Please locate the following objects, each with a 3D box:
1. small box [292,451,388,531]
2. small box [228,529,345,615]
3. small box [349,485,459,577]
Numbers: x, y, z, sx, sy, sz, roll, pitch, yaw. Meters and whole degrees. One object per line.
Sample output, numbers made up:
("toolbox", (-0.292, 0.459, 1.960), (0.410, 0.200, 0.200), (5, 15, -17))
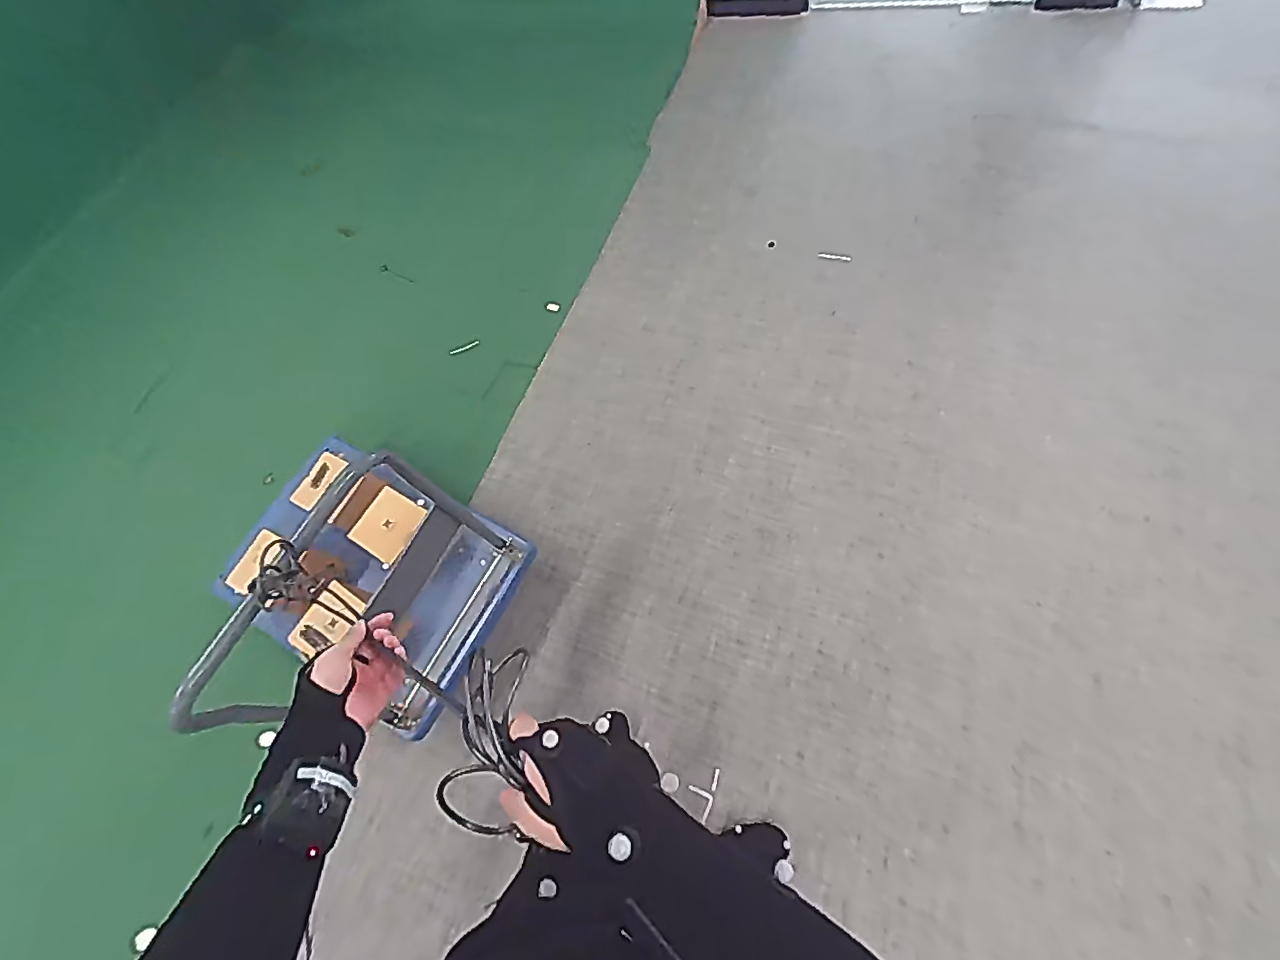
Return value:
("small box", (-0.843, 0.047, 1.563), (0.179, 0.176, 0.168), (23, 74, 19))
("small box", (-0.967, 0.261, 1.496), (0.179, 0.176, 0.168), (21, 71, 20))
("small box", (-0.636, 0.146, 1.476), (0.179, 0.176, 0.168), (26, 74, 20))
